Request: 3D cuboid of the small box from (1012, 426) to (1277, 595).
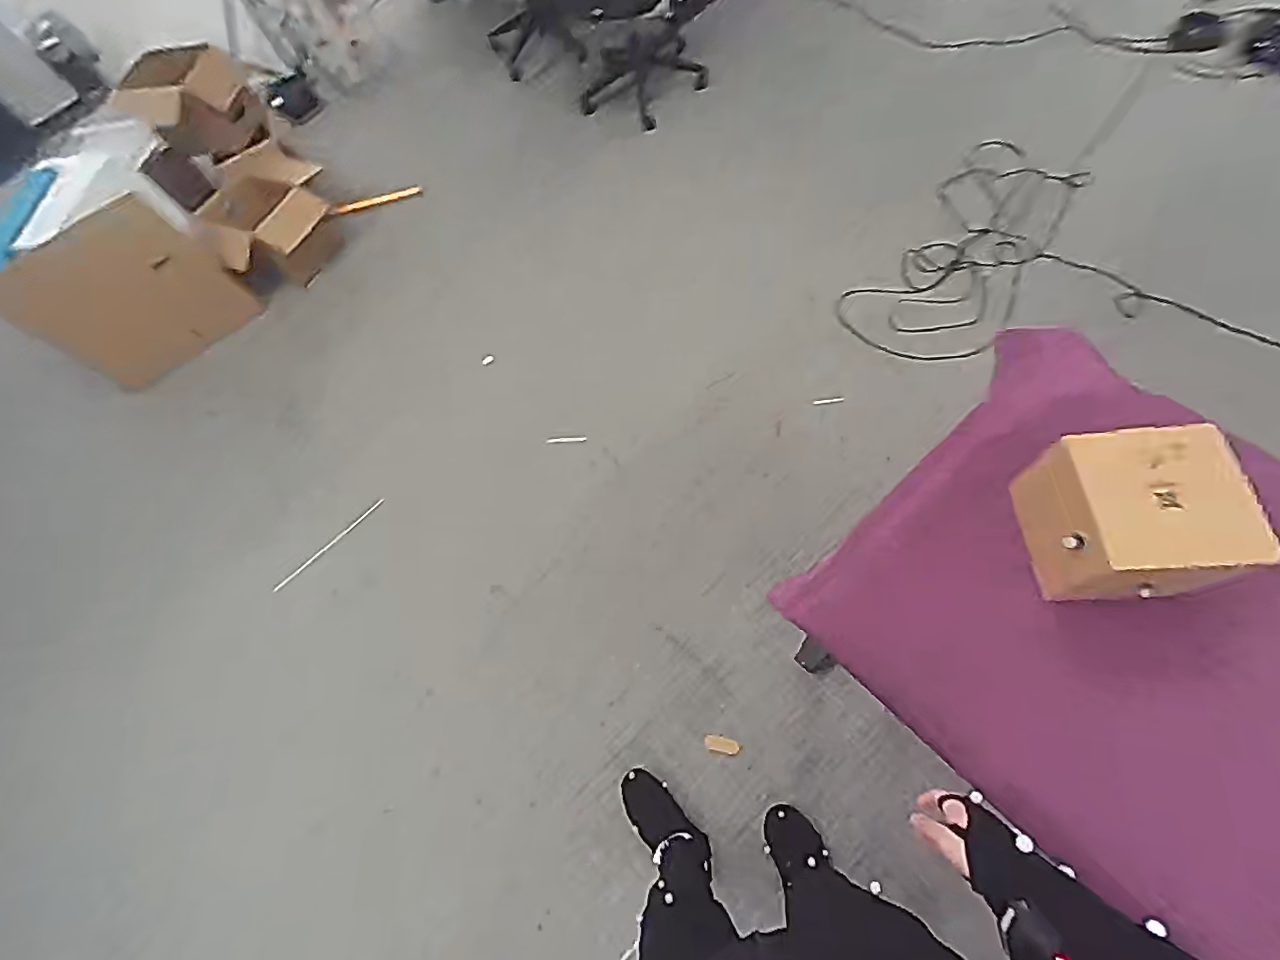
[{"bbox_3d":[0.624,0.050,0.701,0.168,0.176,0.179,-4,66,10],"label":"small box"}]
